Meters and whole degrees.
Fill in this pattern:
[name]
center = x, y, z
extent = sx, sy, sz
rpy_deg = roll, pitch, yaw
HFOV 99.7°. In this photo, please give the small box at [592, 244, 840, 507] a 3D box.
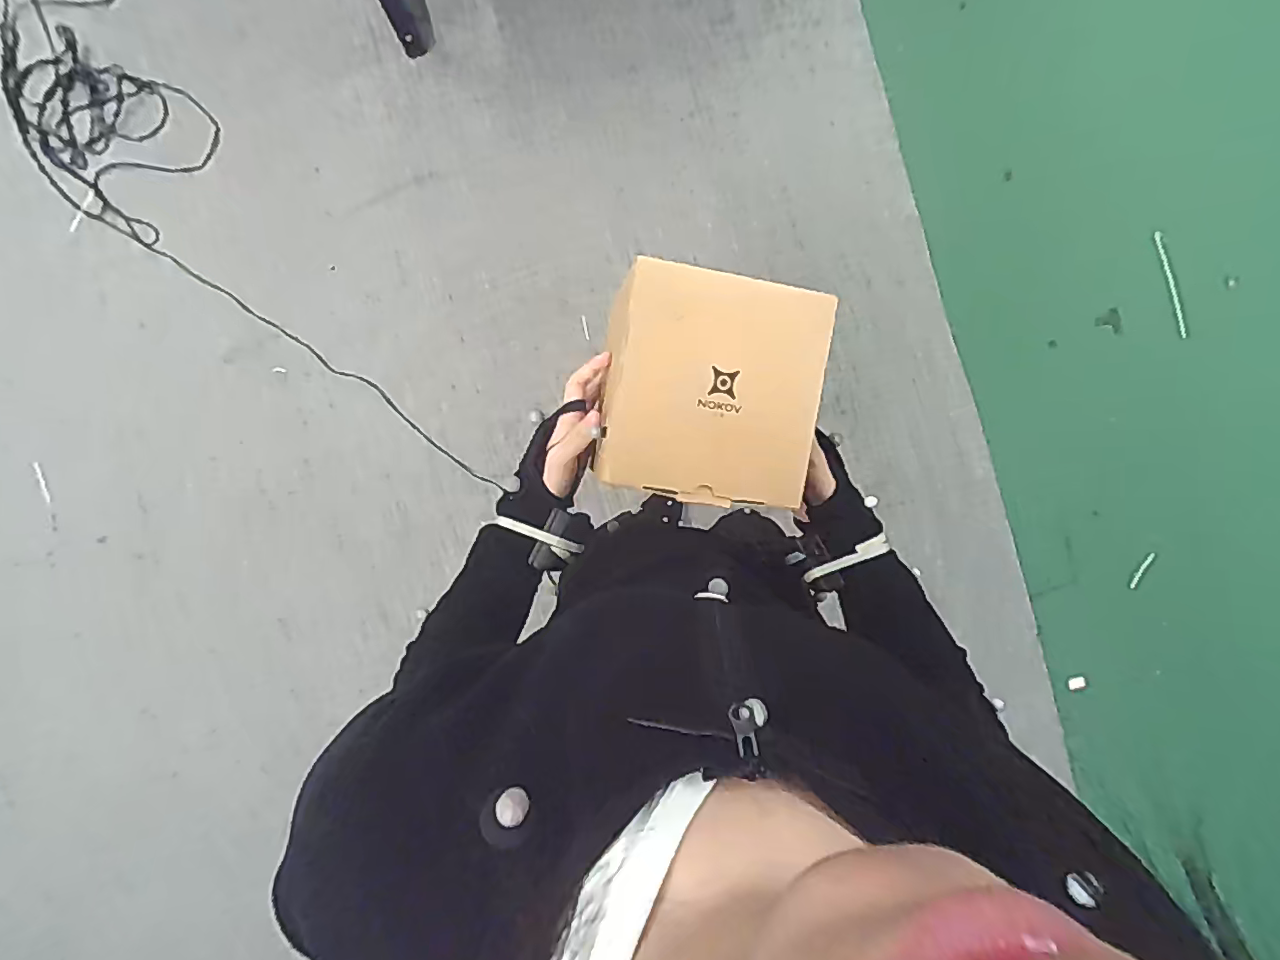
[small box]
center = 0.051, -0.081, 0.483
extent = 0.168, 0.176, 0.179
rpy_deg = 7, 94, -9
